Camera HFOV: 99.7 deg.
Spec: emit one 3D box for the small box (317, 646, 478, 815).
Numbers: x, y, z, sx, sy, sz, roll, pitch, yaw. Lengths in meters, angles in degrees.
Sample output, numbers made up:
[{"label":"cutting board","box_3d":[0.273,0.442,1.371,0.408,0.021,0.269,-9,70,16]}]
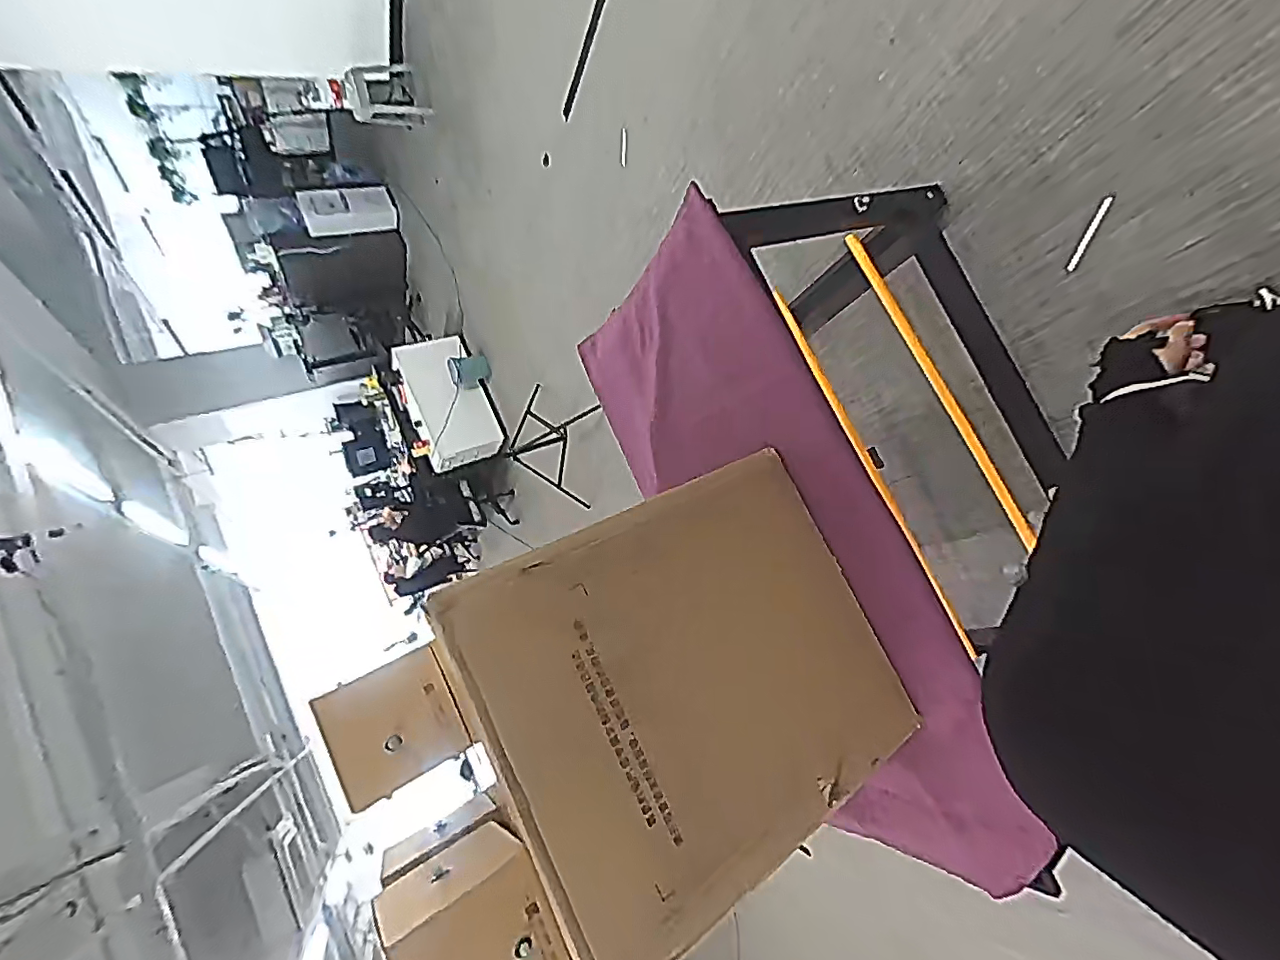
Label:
[{"label":"small box","box_3d":[-0.364,0.370,0.831,0.168,0.176,0.179,62,152,9]}]
